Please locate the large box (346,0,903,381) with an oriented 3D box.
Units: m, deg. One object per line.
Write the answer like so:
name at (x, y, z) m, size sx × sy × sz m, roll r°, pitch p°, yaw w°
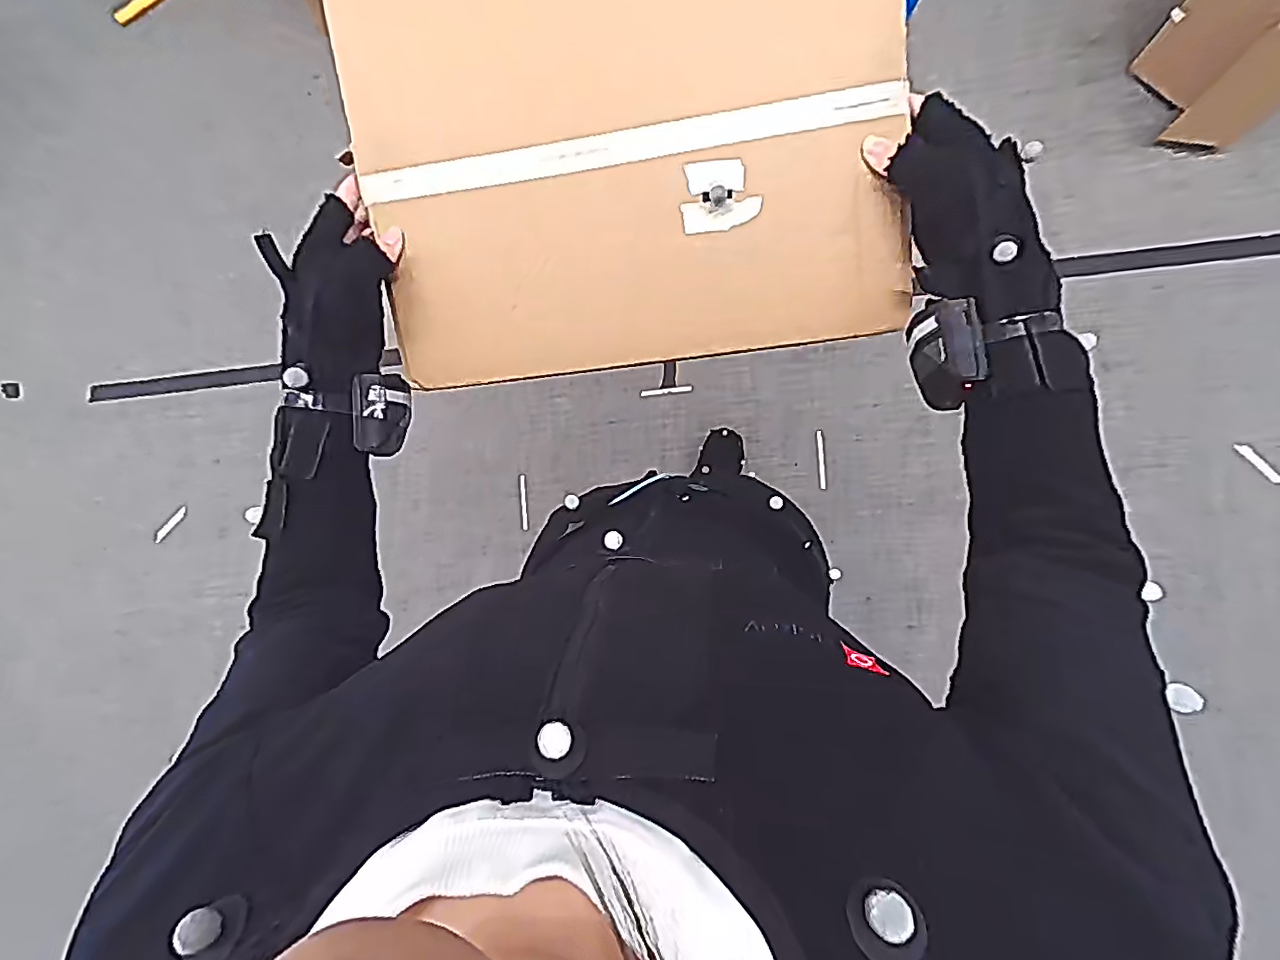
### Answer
large box at (0.002, -0.290, 0.559) m, size 0.408 × 0.320 × 0.320 m, roll -6°, pitch 104°, yaw 6°
